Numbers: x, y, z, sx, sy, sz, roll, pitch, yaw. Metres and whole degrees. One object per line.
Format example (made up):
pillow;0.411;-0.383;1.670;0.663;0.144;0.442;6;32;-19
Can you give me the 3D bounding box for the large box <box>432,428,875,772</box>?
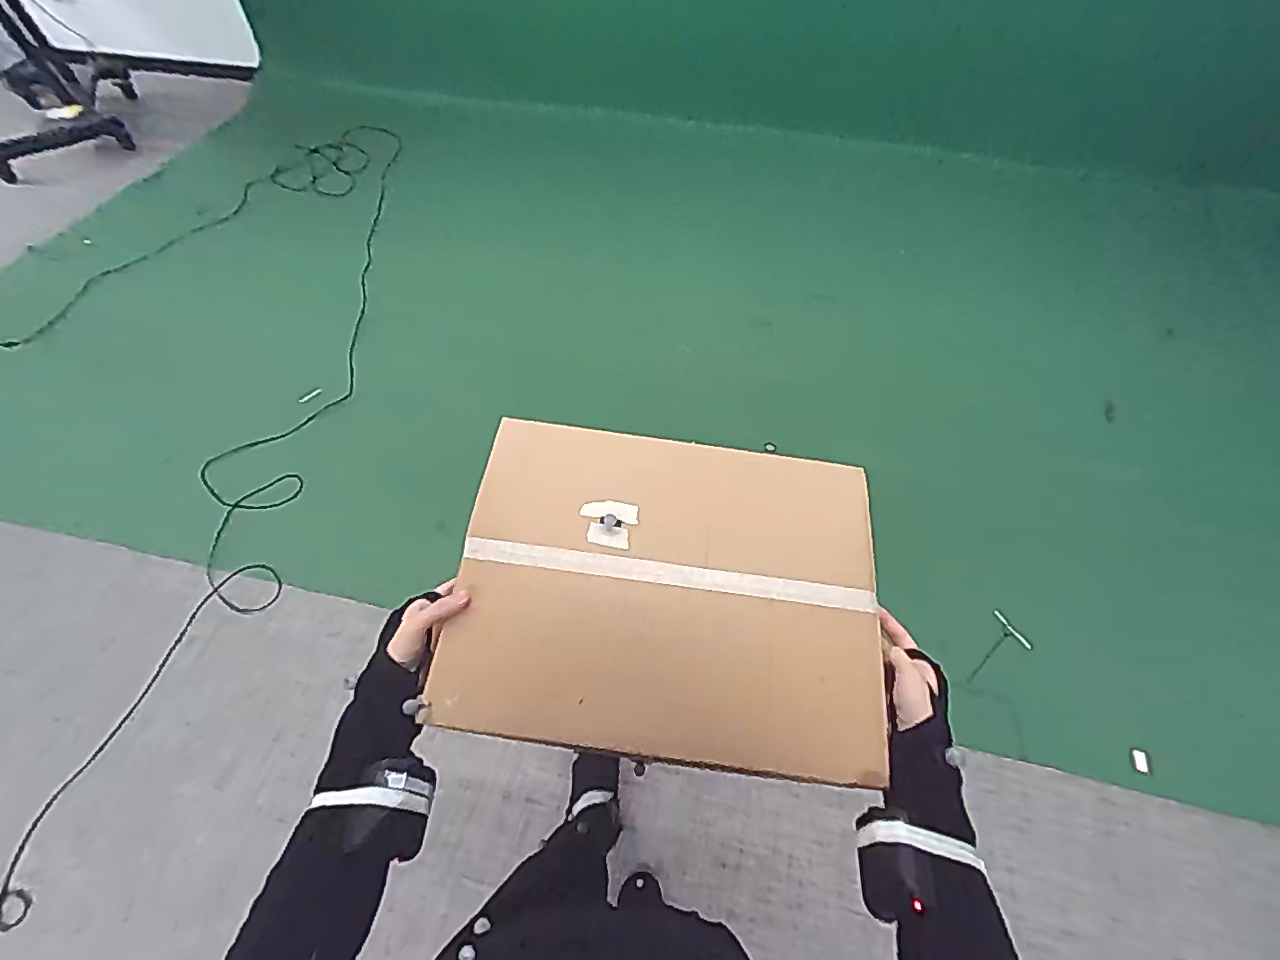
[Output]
large box;0.023;0.164;0.676;0.408;0.320;0.320;8;62;1
